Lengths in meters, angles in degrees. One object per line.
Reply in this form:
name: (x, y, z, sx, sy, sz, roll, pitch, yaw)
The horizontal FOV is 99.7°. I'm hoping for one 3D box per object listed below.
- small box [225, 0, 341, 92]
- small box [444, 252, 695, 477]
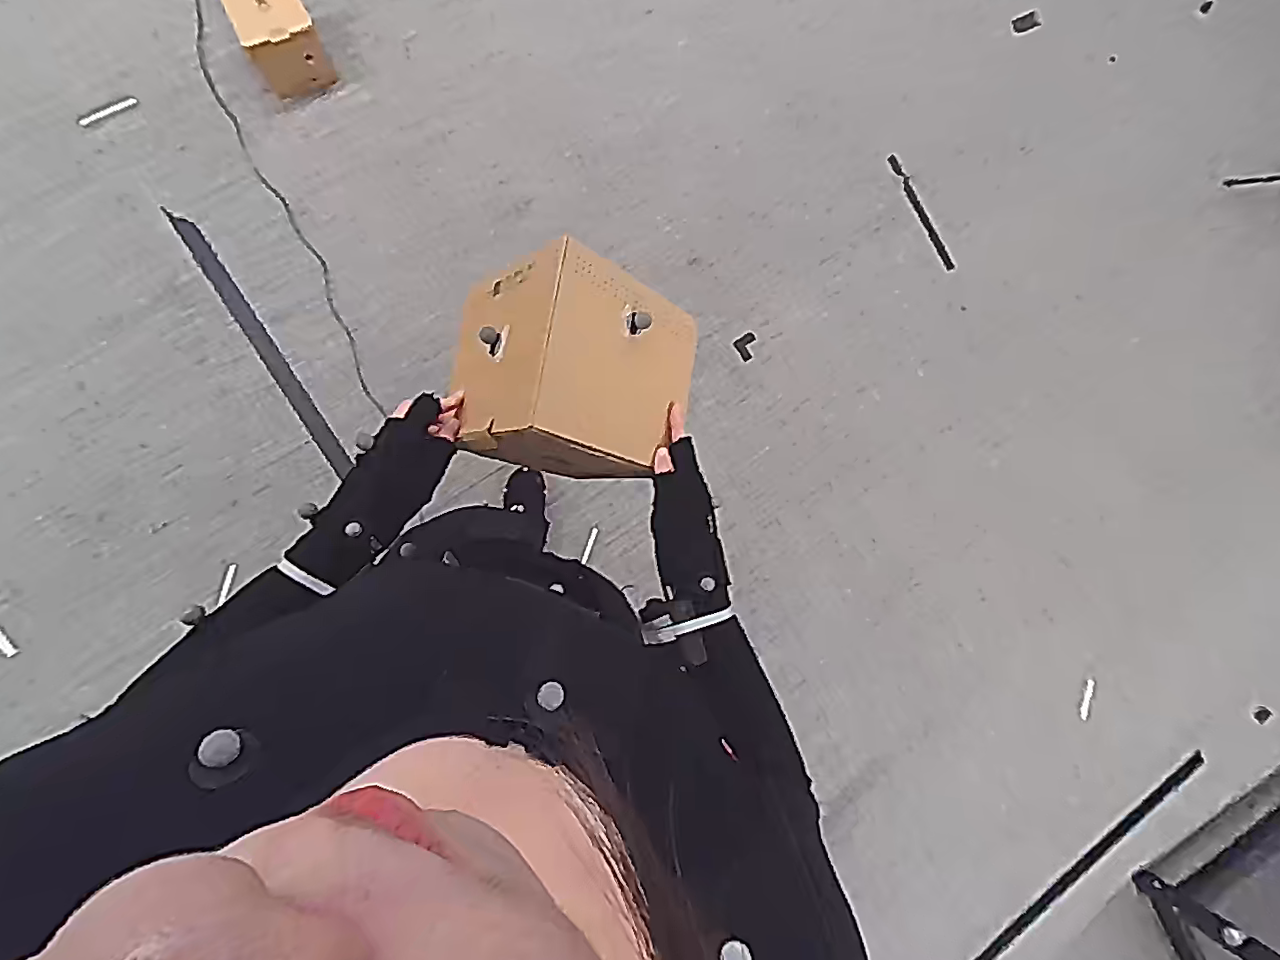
small box: (-0.880, -1.105, 1.337, 0.168, 0.176, 0.179, -26, 92, -9)
small box: (-0.065, -0.105, 0.544, 0.179, 0.168, 0.176, 17, 78, -43)
